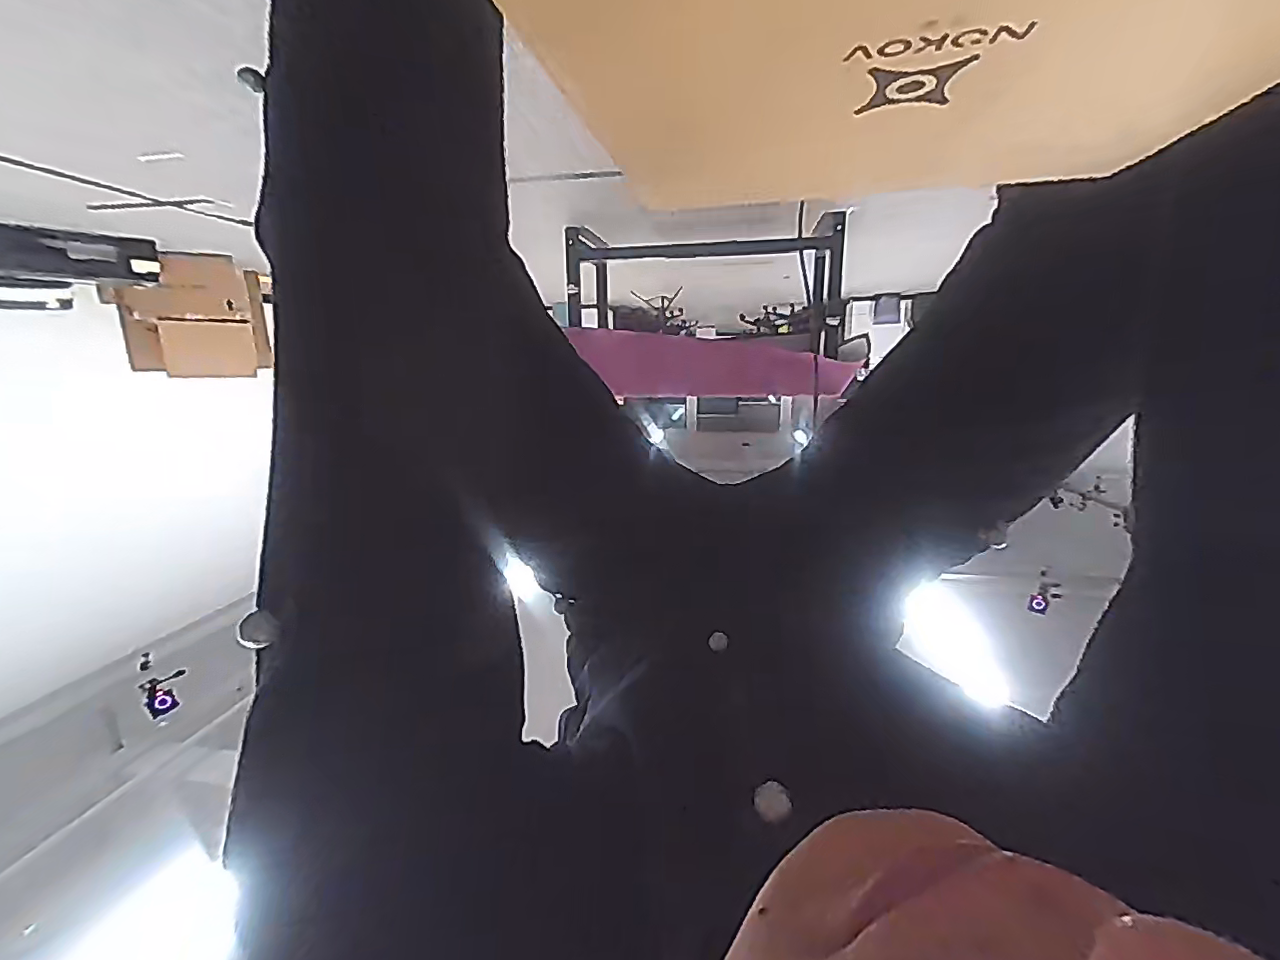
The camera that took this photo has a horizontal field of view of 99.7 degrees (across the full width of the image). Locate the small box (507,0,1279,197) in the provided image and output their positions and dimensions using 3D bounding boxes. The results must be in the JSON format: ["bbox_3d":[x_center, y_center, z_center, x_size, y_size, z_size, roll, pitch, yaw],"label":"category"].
[{"bbox_3d":[0.063,-0.174,0.104,0.168,0.176,0.179,2,-168,12],"label":"small box"}]
